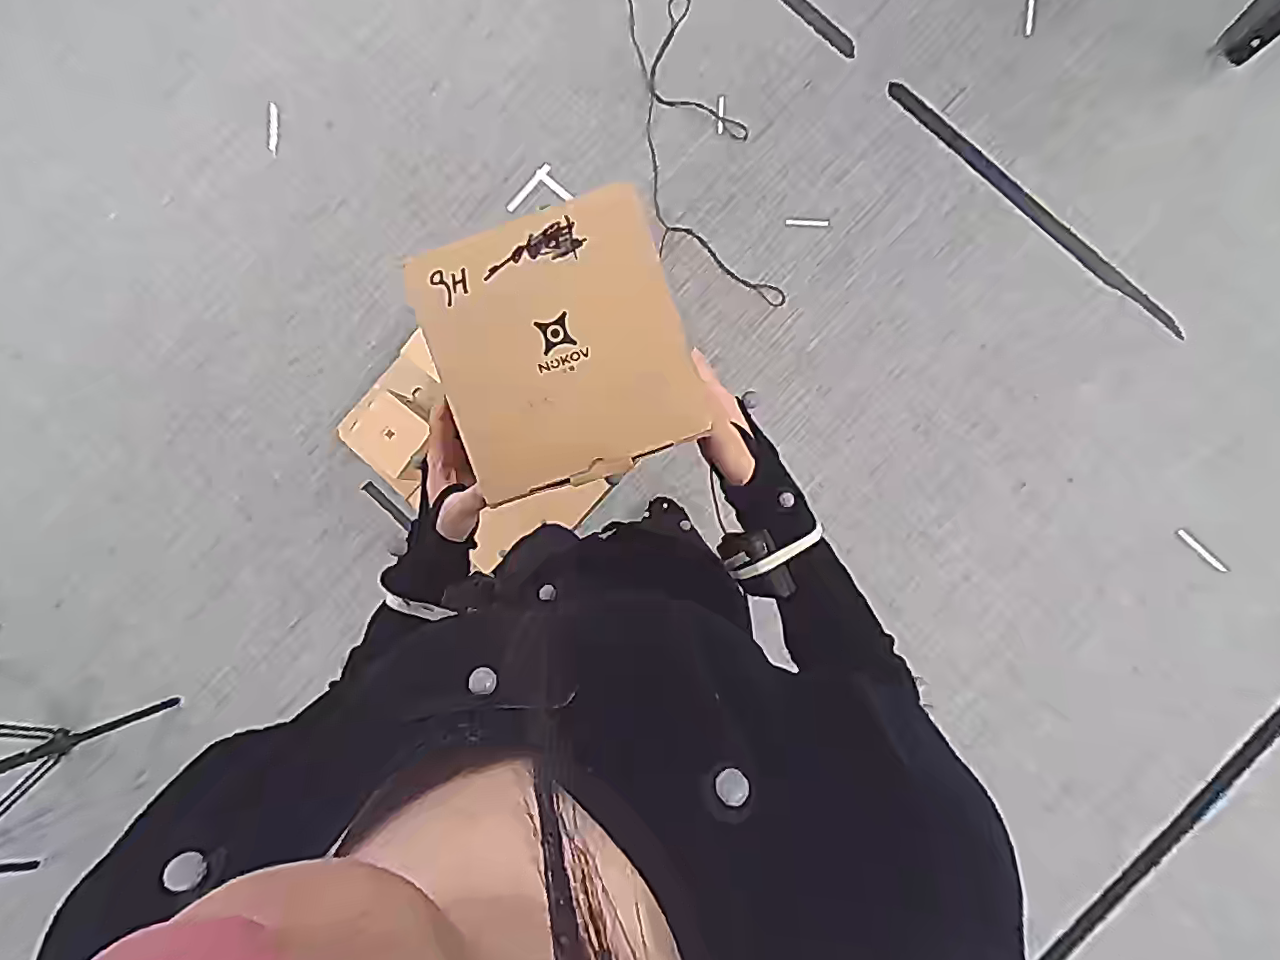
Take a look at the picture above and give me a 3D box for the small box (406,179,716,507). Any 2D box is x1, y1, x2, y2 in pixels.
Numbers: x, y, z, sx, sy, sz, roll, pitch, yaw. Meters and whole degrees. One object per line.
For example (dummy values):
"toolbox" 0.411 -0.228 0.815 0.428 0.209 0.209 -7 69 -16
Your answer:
"small box" -0.047 -0.094 0.432 0.168 0.176 0.179 -18 94 3

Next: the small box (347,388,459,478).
"small box" -0.619 -0.116 1.435 0.179 0.176 0.168 37 91 3

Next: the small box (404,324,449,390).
"small box" -0.480 -0.336 1.438 0.168 0.176 0.179 39 90 4
